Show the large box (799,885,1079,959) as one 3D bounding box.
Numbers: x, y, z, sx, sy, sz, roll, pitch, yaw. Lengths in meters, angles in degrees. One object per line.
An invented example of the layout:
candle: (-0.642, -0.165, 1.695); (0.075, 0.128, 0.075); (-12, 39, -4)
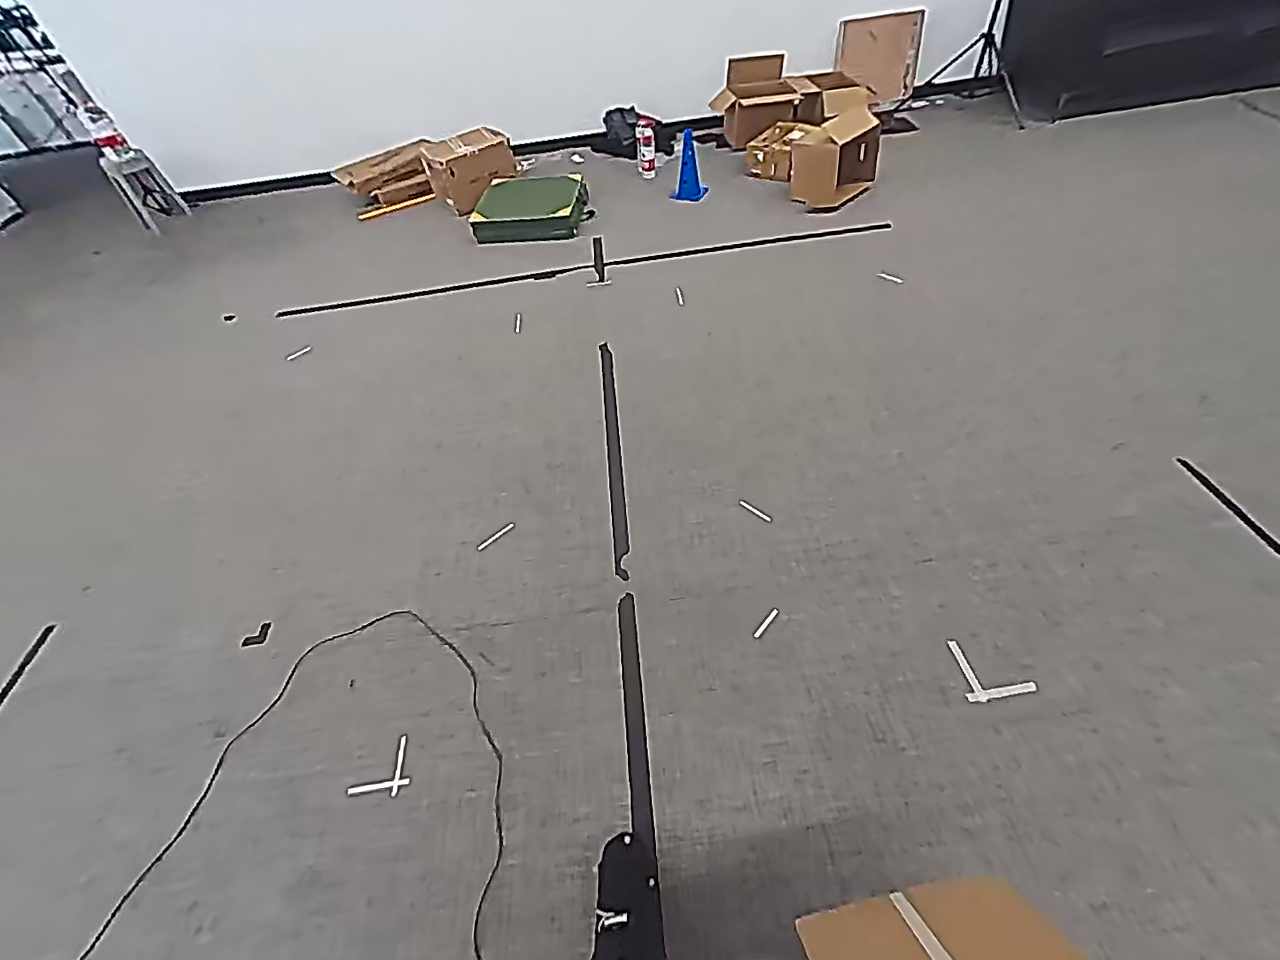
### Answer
large box: (0.410, 0.747, 0.577); (0.320, 0.408, 0.320); (-12, 84, -2)
